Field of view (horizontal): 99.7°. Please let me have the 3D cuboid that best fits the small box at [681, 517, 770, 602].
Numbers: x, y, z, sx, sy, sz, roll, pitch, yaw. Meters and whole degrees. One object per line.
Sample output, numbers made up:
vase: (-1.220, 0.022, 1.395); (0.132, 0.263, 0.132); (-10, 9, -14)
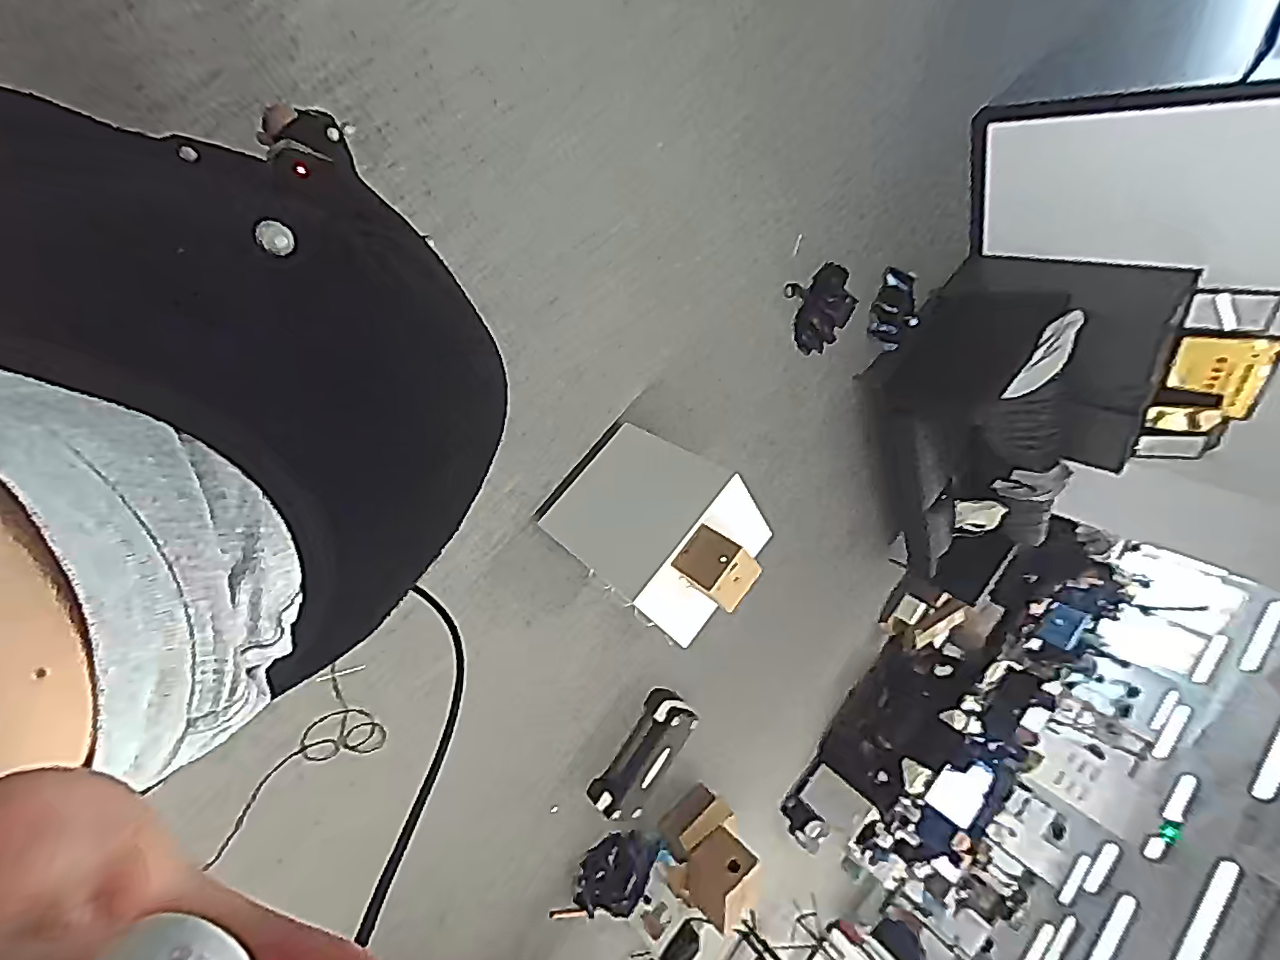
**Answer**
small box: (0.257, 0.235, 1.634); (0.168, 0.176, 0.179); (-54, 138, -9)
